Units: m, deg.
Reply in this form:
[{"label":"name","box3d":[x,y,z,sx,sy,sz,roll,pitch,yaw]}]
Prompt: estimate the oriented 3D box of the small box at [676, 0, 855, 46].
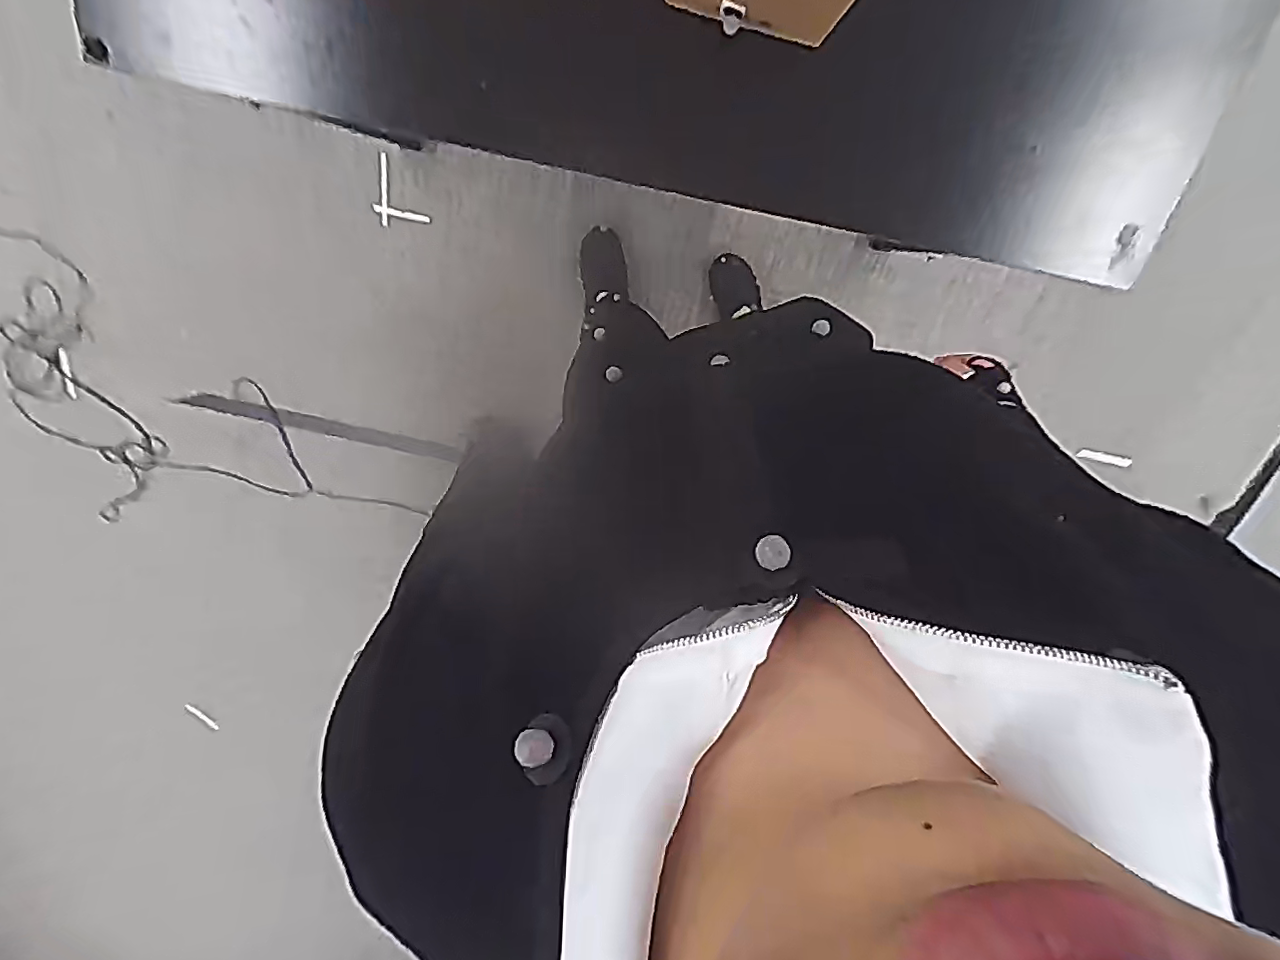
[{"label":"small box","box3d":[0.121,-0.512,0.455,0.168,0.176,0.179,12,115,-2]}]
